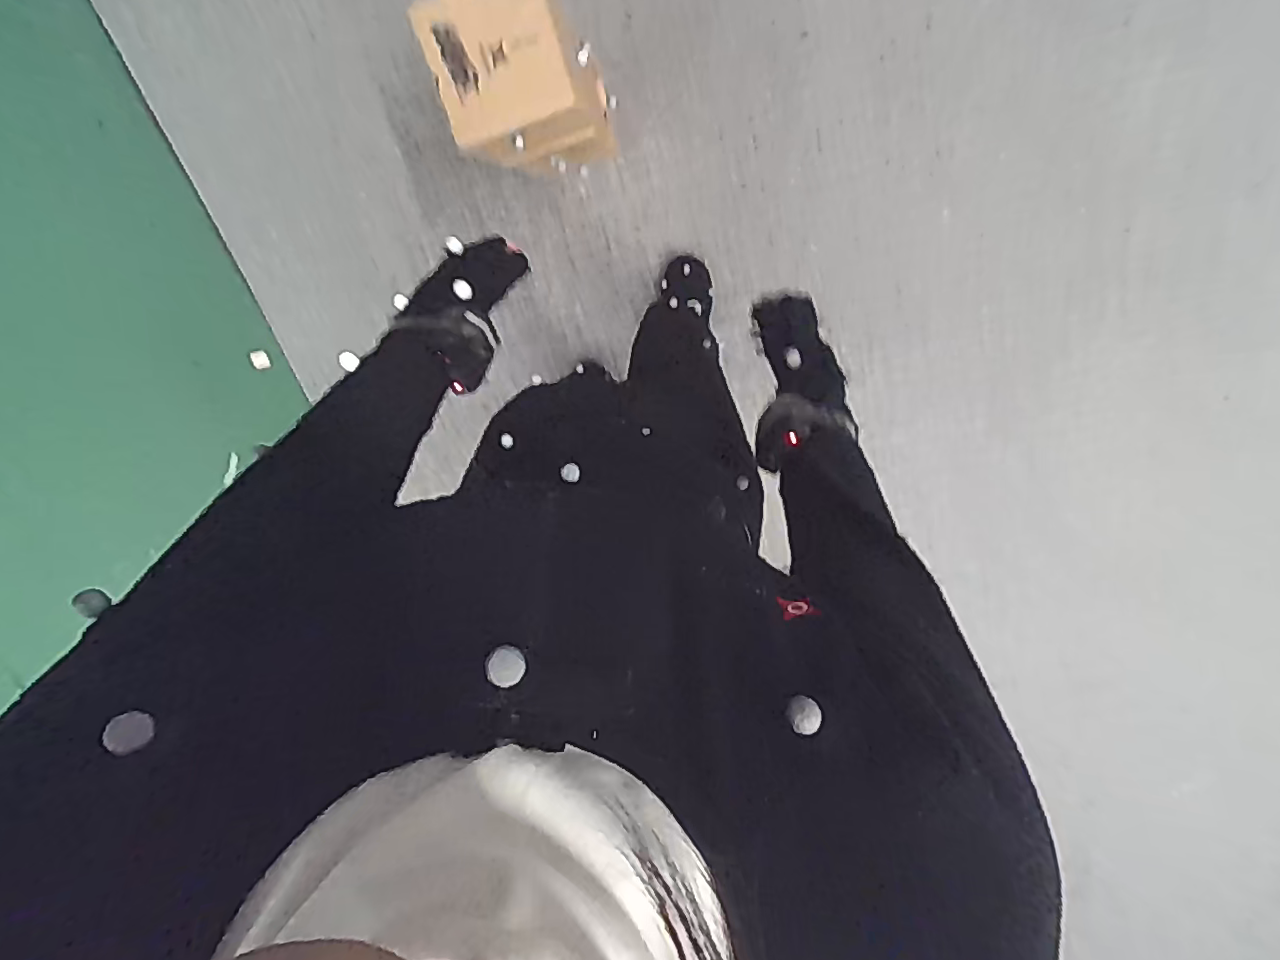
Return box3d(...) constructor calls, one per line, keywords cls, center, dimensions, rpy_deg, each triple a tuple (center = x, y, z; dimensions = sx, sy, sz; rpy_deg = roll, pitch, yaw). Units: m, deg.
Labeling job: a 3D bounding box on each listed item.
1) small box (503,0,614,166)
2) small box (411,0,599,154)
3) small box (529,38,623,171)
box3d(cls="small box", center=(-0.153, -0.649, 0.907), dimensions=(0.168, 0.176, 0.179), rpy_deg=(-10, 115, 13))
box3d(cls="small box", center=(-0.175, -0.580, 0.759), dimensions=(0.179, 0.176, 0.168), rpy_deg=(-12, 114, 13))
box3d(cls="small box", center=(-0.136, -0.718, 1.054), dimensions=(0.179, 0.176, 0.168), rpy_deg=(-9, 114, 11))
